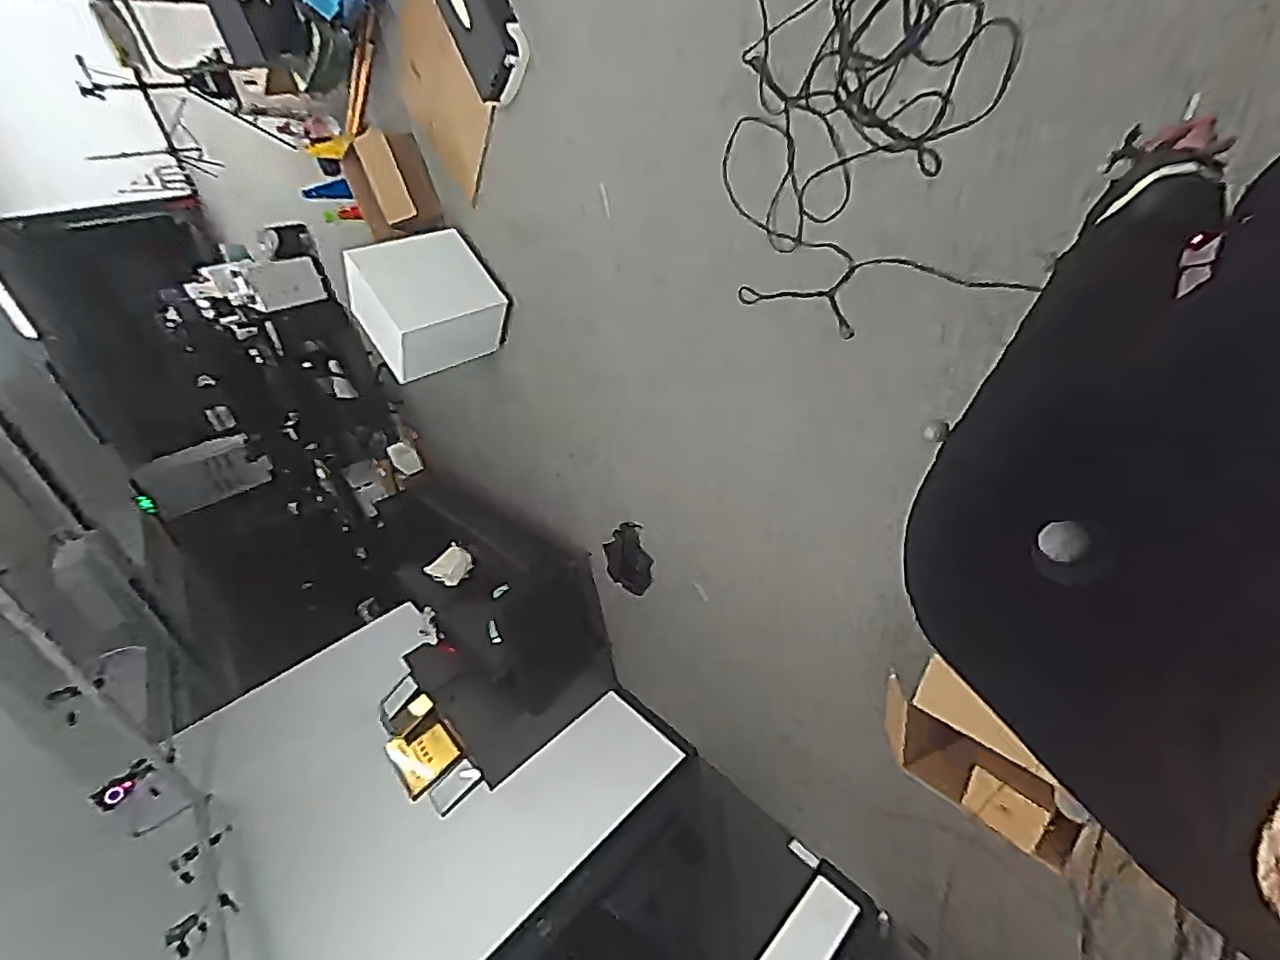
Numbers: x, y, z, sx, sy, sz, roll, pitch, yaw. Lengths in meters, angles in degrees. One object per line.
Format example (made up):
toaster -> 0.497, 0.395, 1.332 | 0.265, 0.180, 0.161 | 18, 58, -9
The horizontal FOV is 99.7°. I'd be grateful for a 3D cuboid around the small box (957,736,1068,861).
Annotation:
small box -> 0.942, 0.797, 1.367 | 0.168, 0.176, 0.179 | 27, 132, 44
